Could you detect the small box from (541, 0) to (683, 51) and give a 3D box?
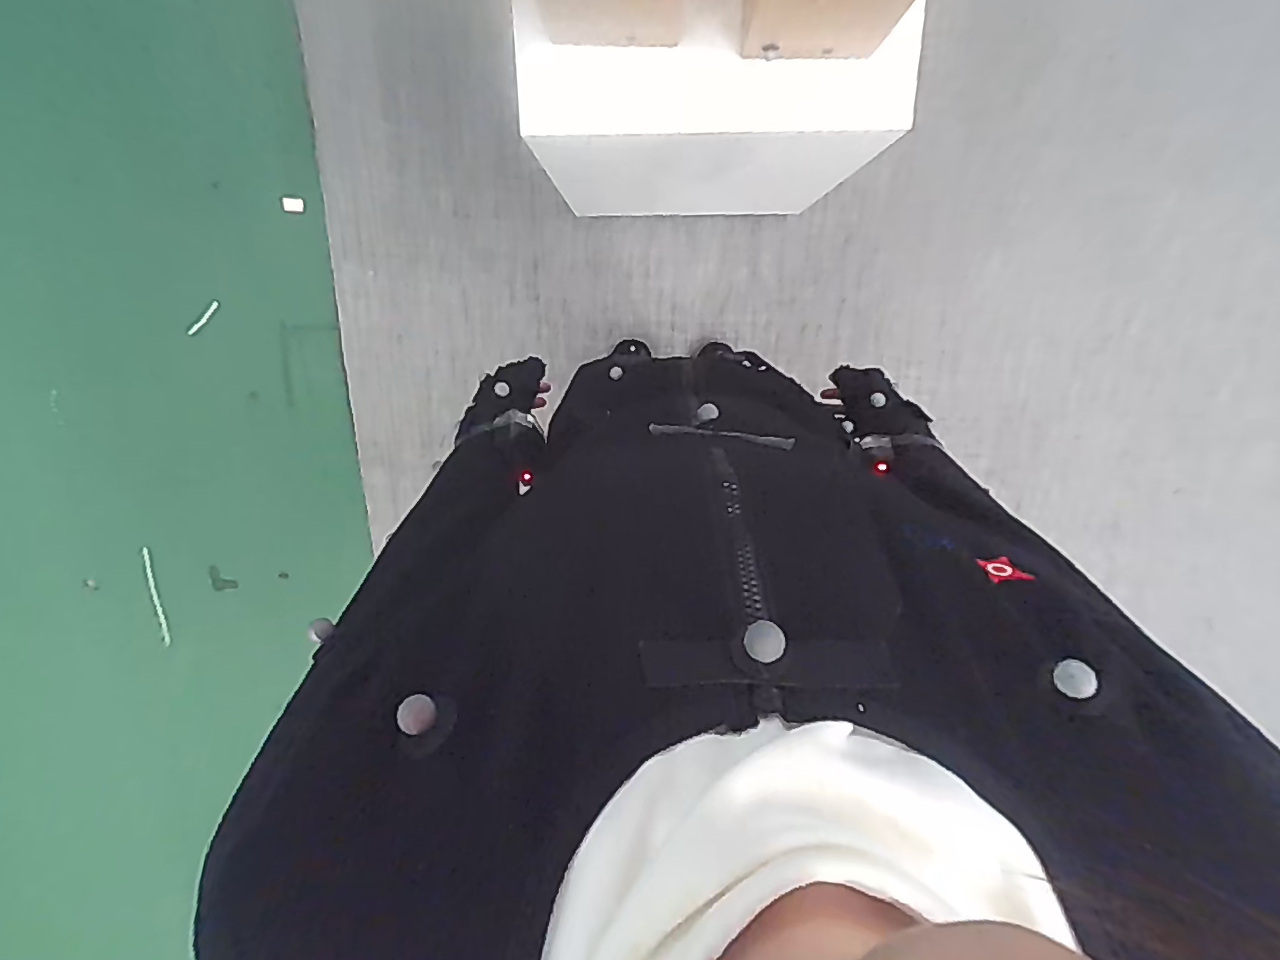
[{"bbox_3d":[-0.031,-0.608,0.580,0.168,0.176,0.179,3,104,2],"label":"small box"}]

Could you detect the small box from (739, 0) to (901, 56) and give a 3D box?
[{"bbox_3d":[0.202,-0.591,0.579,0.168,0.176,0.179,1,104,1],"label":"small box"}]
